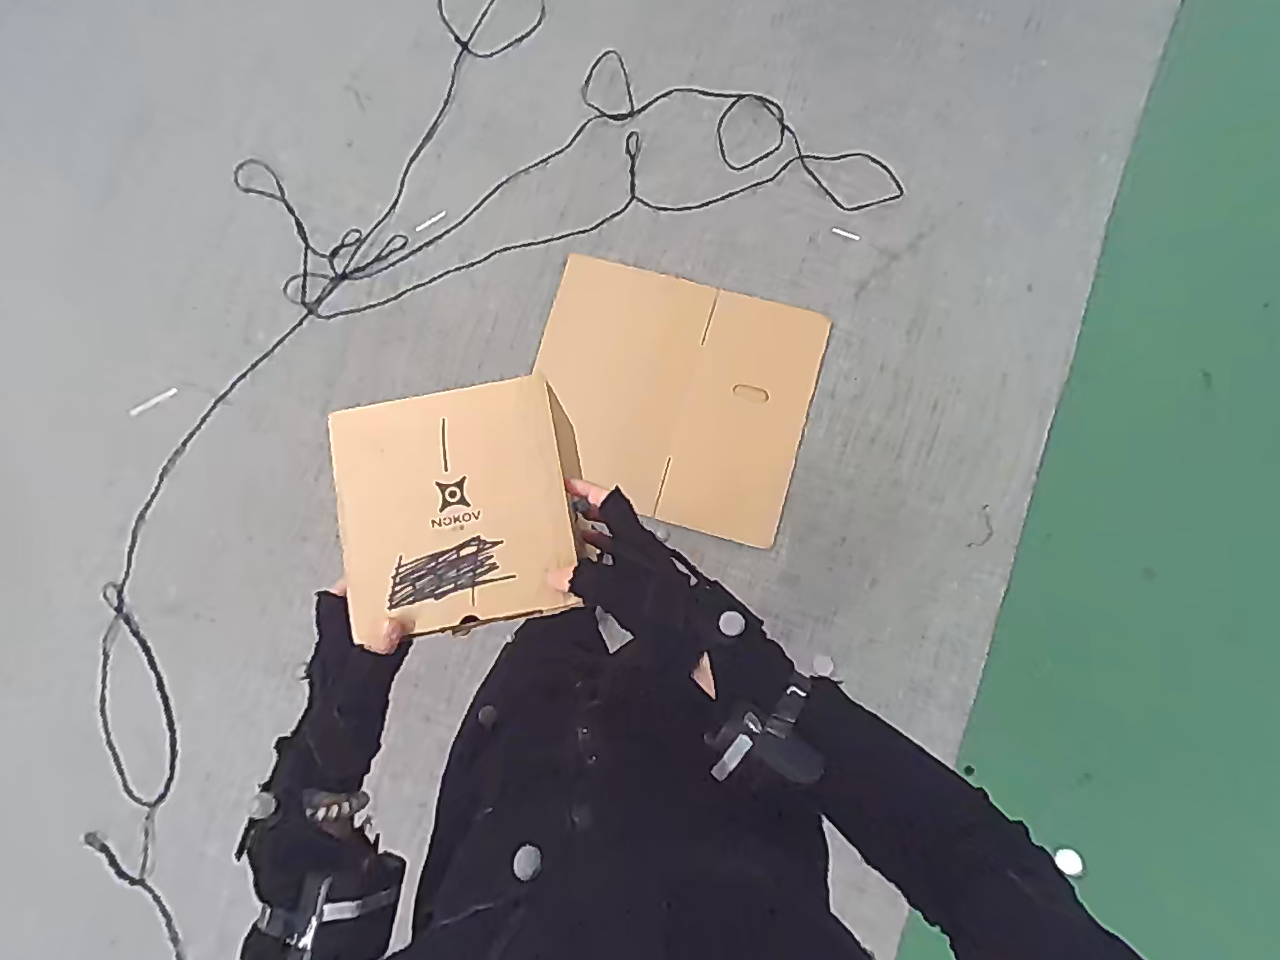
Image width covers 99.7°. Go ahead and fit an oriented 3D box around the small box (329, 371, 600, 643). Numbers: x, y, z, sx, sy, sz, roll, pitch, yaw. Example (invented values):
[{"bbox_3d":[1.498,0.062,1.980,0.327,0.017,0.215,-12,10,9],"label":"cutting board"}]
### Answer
[{"bbox_3d":[-0.135,0.027,0.474,0.168,0.176,0.179,-12,82,-1],"label":"small box"}]
